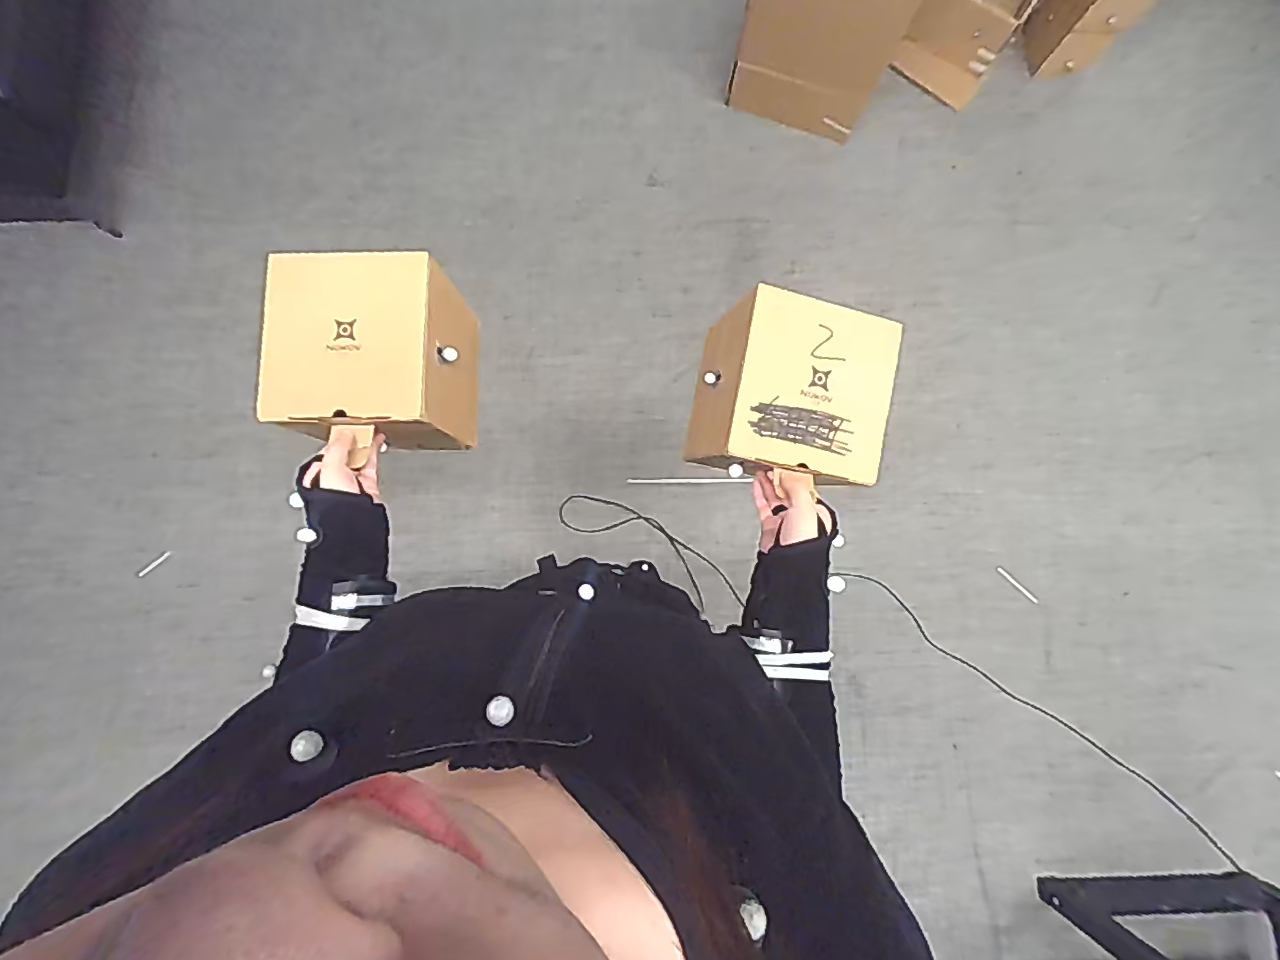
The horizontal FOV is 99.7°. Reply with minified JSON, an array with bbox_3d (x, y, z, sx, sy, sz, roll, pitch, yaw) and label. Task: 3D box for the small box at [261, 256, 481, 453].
[{"bbox_3d":[-0.289,-0.132,0.619,0.168,0.176,0.179,0,84,0],"label":"small box"}]
